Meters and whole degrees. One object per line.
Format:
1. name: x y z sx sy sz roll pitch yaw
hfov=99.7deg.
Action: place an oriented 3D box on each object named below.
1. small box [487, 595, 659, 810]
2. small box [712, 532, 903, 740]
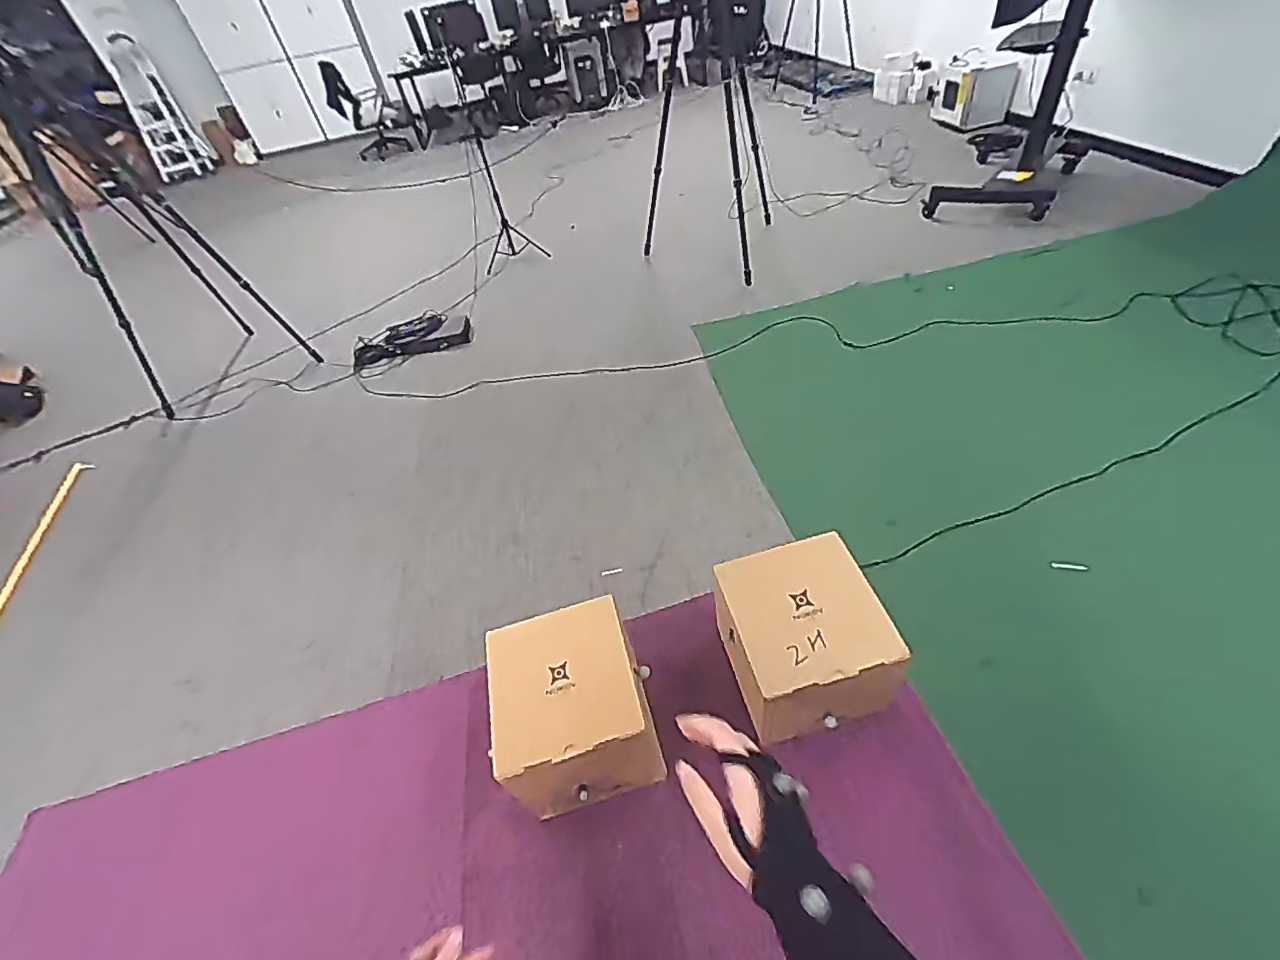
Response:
1. small box: -0.082 0.278 0.677 0.168 0.176 0.179 -17 47 -4
2. small box: 0.196 0.199 0.685 0.168 0.176 0.179 -15 48 -2
